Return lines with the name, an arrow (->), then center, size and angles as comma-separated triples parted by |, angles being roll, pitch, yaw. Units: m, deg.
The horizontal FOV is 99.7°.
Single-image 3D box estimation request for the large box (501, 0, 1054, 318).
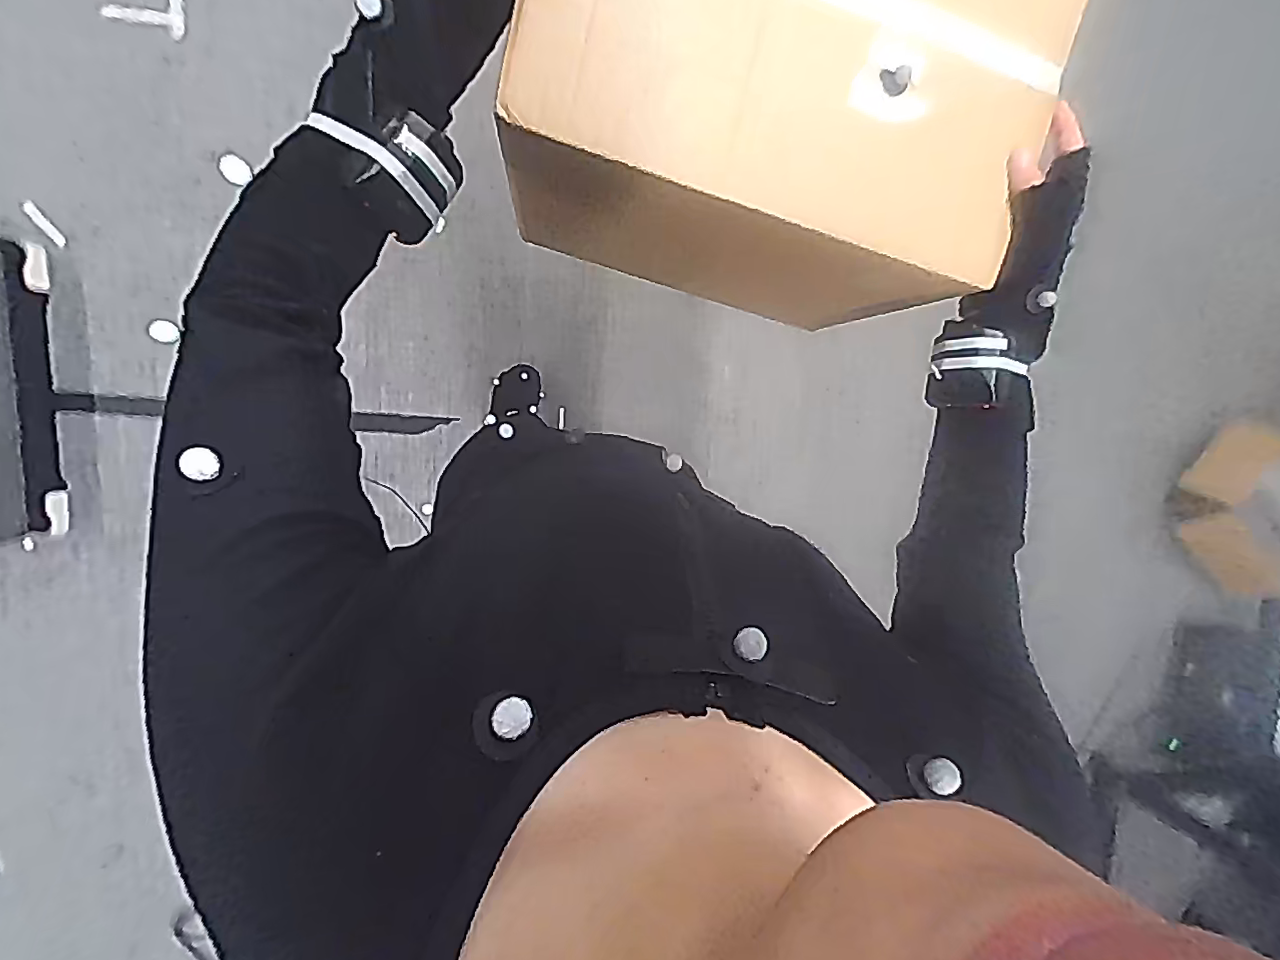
large box -> 0.096, -0.382, 0.543 | 0.408, 0.320, 0.320 | 12, 97, -12
